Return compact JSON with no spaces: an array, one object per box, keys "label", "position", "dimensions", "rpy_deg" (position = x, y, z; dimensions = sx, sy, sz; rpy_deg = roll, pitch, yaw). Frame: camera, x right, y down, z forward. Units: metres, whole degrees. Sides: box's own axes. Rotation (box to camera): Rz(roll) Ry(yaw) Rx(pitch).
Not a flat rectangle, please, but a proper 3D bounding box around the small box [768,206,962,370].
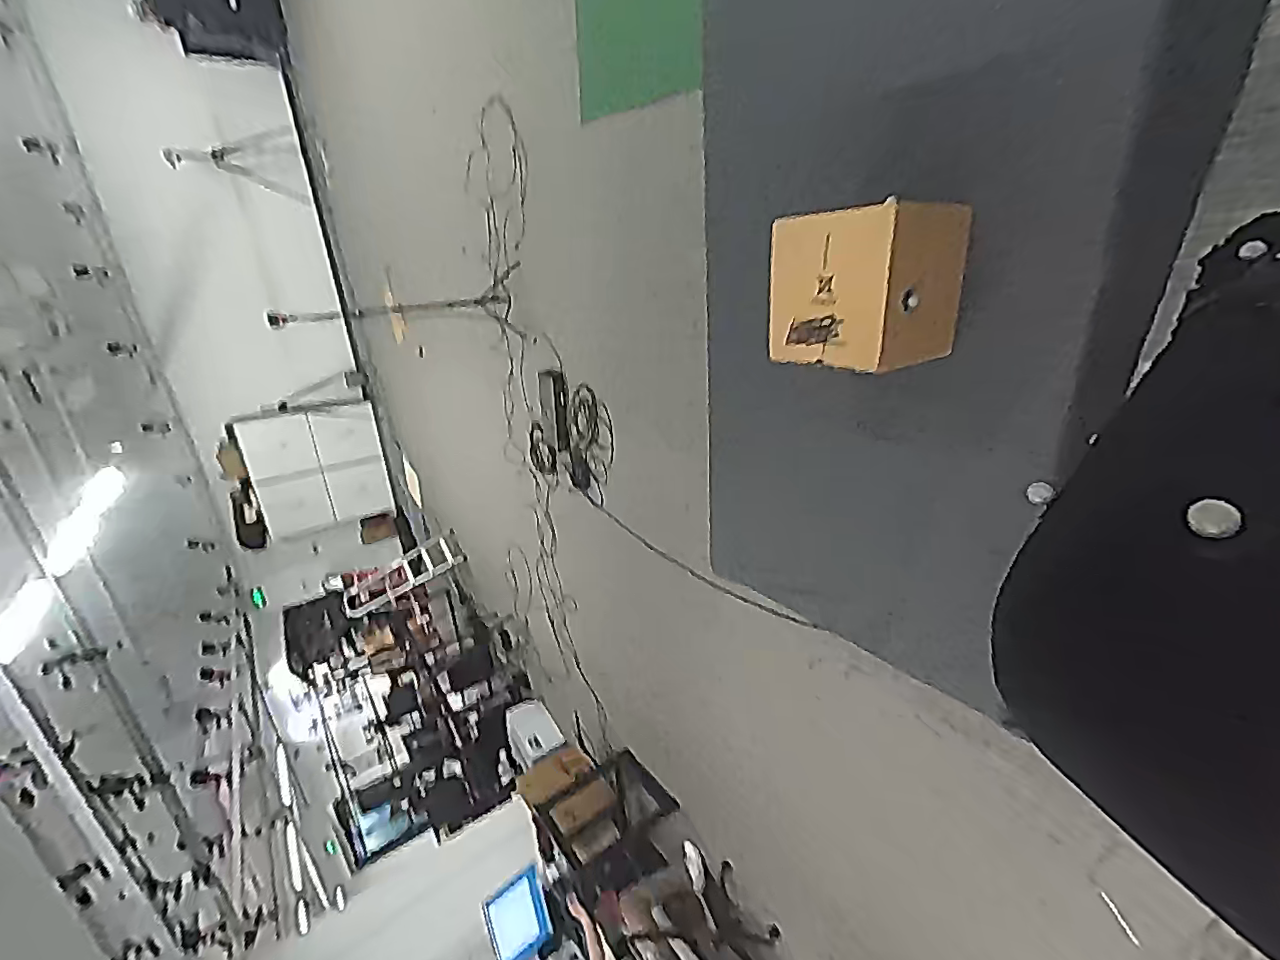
[{"label":"small box","position":[0.287,-0.249,0.700],"dimensions":[0.168,0.176,0.179],"rpy_deg":[24,123,50]}]
